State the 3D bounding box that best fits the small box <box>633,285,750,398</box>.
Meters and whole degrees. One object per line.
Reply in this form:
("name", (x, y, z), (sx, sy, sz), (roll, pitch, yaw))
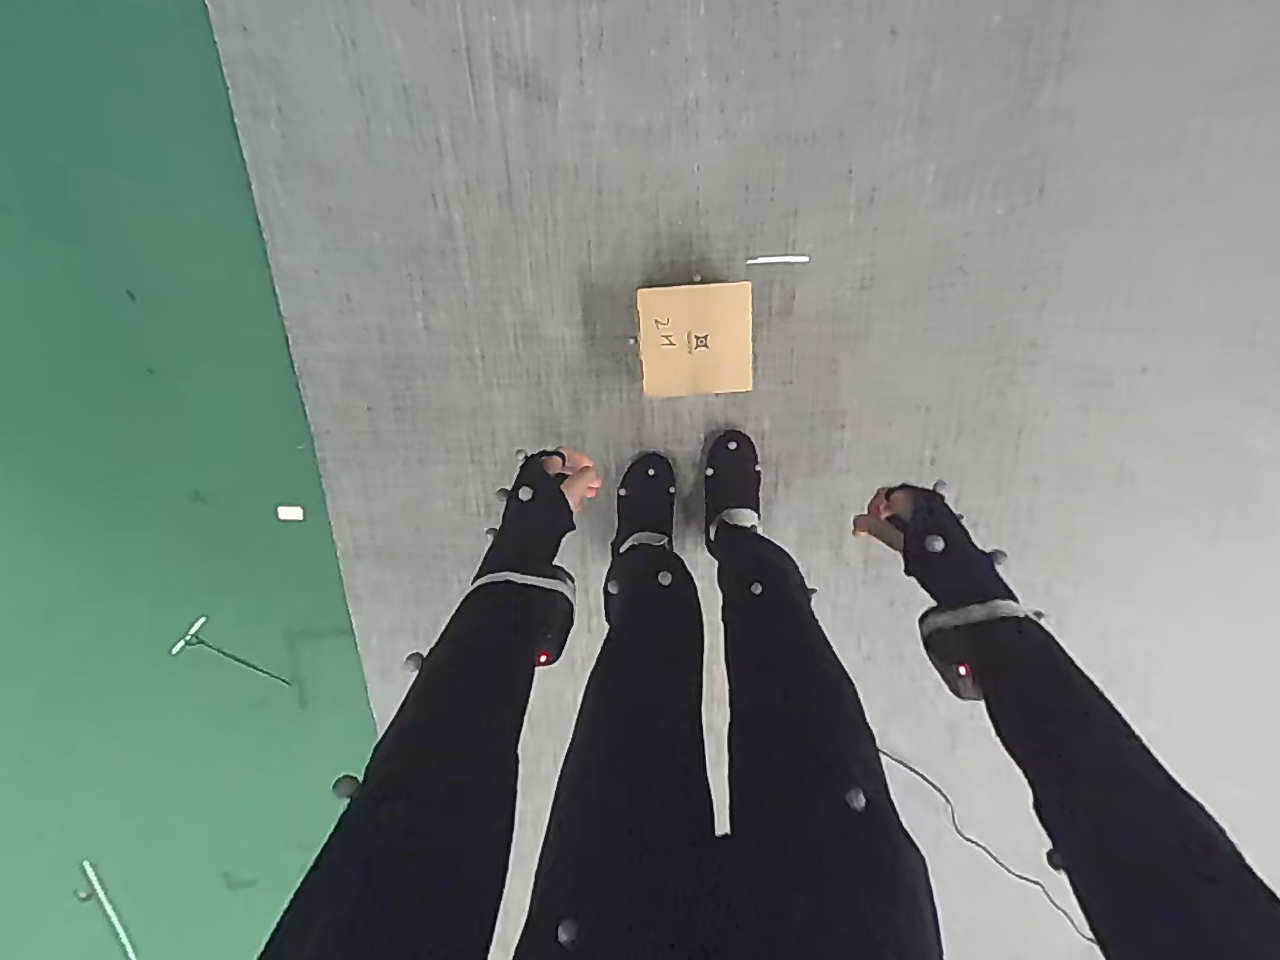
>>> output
("small box", (0.080, -0.236, 0.908), (0.179, 0.176, 0.168), (-4, 107, 0))
